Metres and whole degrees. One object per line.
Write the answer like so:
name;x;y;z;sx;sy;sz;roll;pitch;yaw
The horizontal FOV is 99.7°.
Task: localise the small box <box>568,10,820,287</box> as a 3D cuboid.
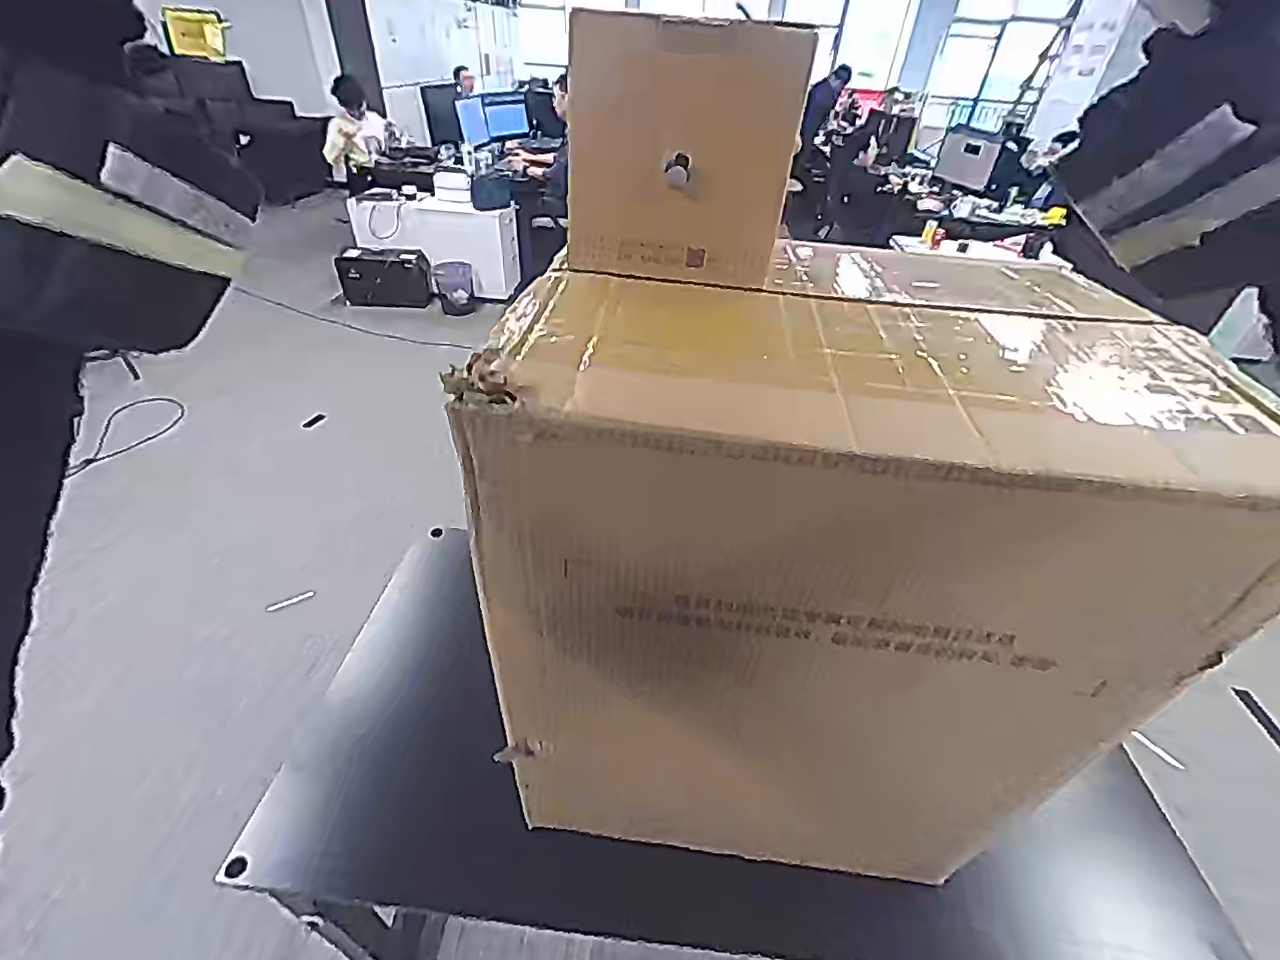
small box;0.038;-0.276;0.458;0.168;0.176;0.179;7;37;1
